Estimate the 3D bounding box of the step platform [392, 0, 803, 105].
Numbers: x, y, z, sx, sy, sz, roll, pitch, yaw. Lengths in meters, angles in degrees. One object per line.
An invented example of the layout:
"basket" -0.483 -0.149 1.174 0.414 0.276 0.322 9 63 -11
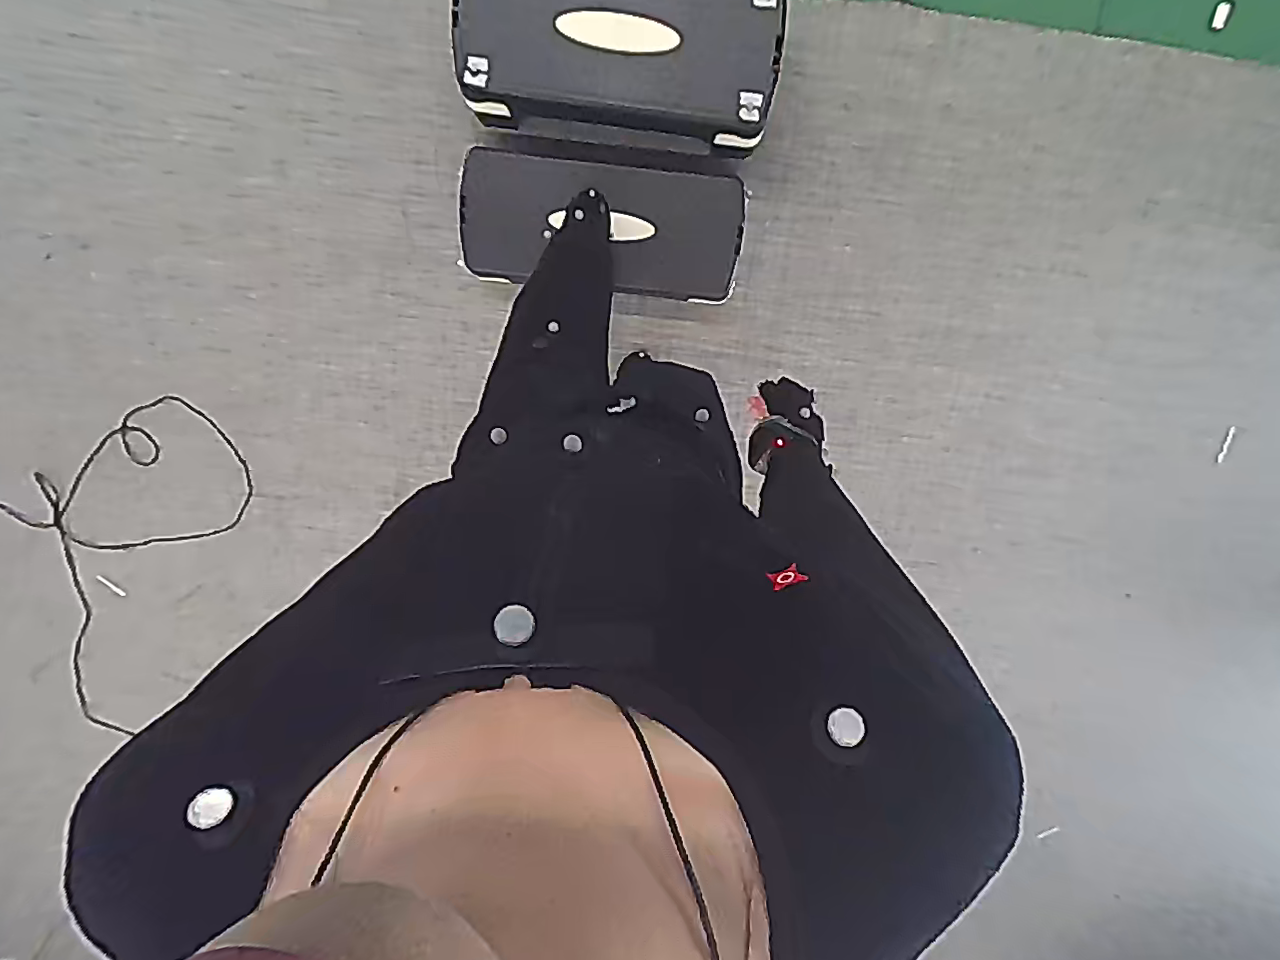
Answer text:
"step platform" -0.065 -0.877 0.948 0.684 0.204 0.286 6 106 -1
